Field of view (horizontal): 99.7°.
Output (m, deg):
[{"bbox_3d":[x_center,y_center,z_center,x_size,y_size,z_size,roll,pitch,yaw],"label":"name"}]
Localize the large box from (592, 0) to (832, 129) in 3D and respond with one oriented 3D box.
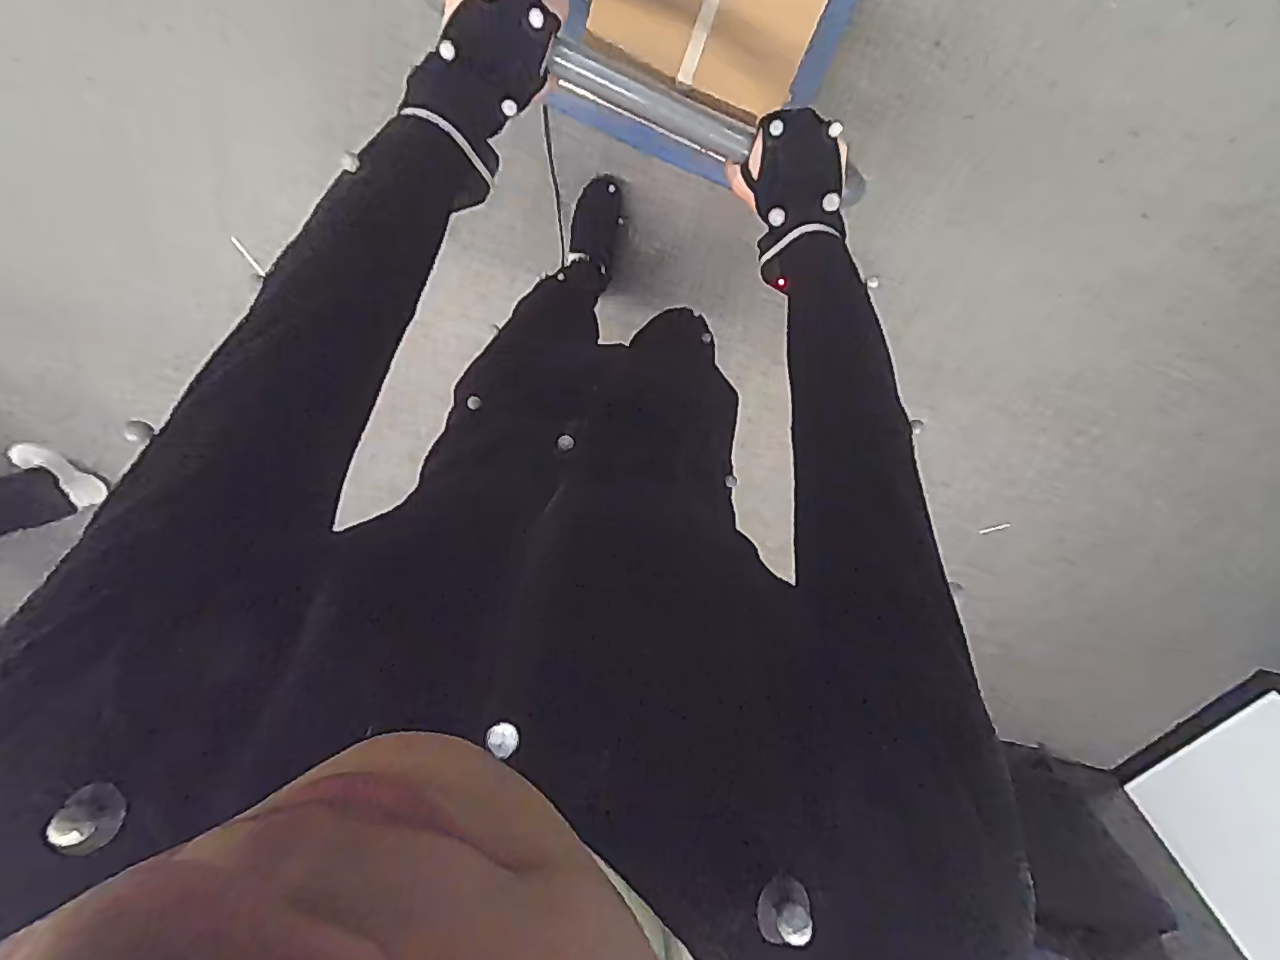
[{"bbox_3d":[0.142,-0.828,0.838,0.320,0.320,0.408,19,121,-11],"label":"large box"}]
